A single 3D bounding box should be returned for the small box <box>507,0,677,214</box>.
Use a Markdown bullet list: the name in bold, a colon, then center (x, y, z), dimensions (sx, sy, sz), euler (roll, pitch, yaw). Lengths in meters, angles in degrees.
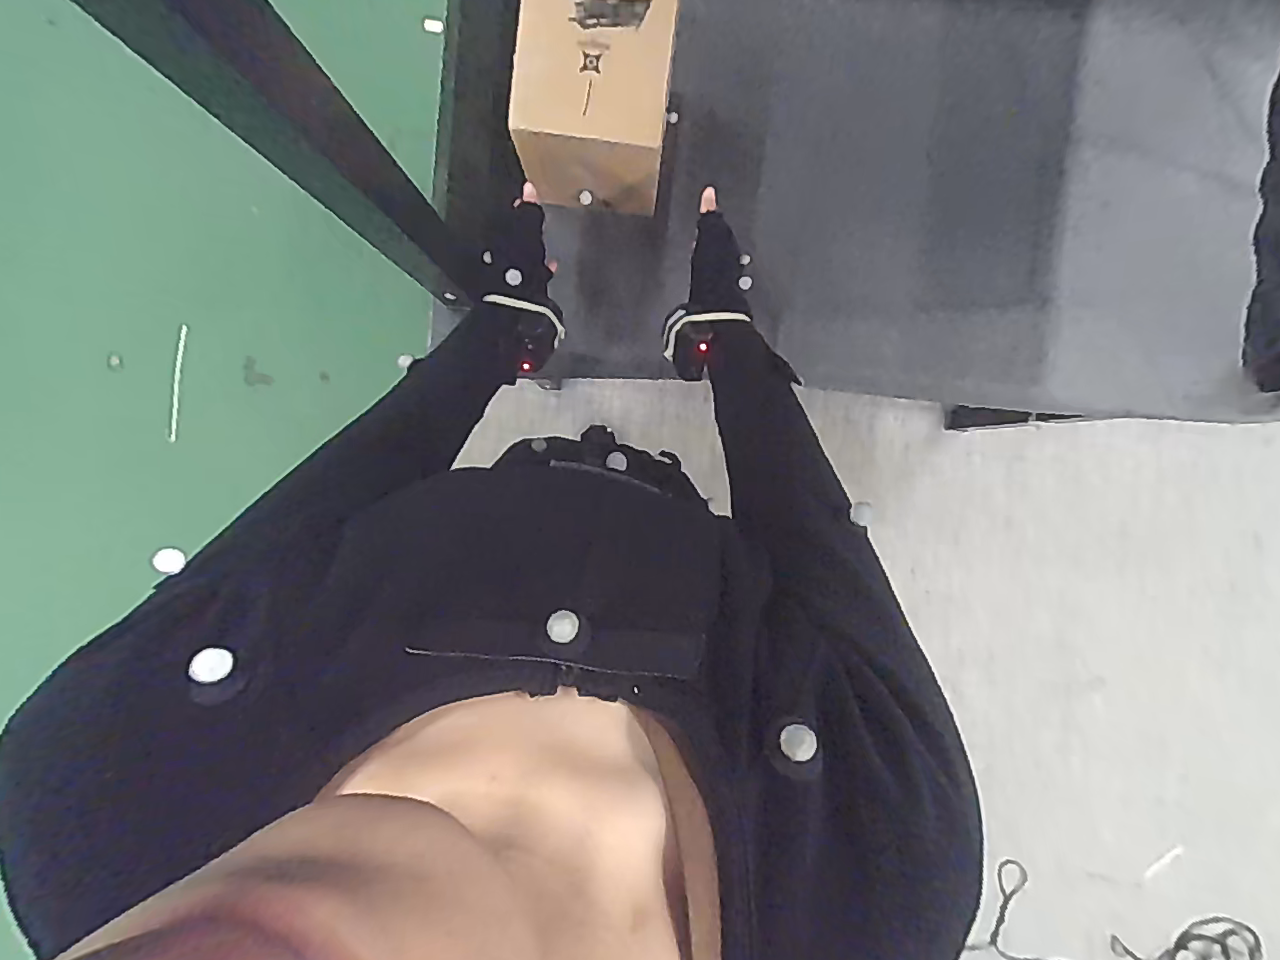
- **small box**: center (-0.053, -0.454, 0.653), dimensions (0.168, 0.176, 0.179), euler (7, 93, -1)
